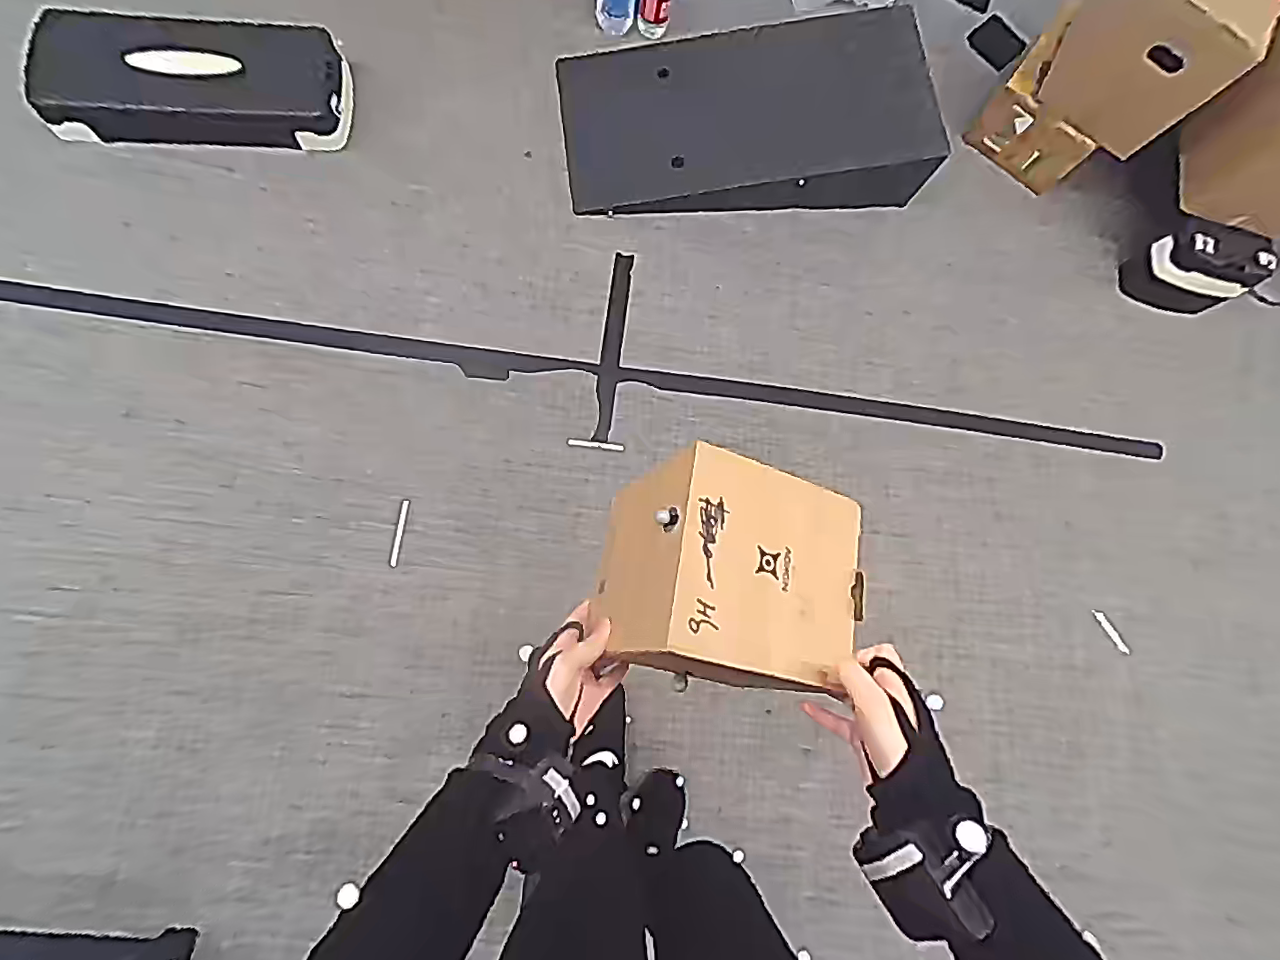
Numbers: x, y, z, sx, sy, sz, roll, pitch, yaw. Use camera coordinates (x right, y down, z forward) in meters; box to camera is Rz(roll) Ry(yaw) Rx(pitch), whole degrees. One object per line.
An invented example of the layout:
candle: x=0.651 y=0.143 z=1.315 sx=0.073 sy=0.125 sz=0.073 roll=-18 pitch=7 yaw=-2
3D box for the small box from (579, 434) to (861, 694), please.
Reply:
small box: x=0.068 y=0.084 z=0.485 sx=0.179 sy=0.176 sz=0.168 roll=20 pitch=66 yaw=-21
